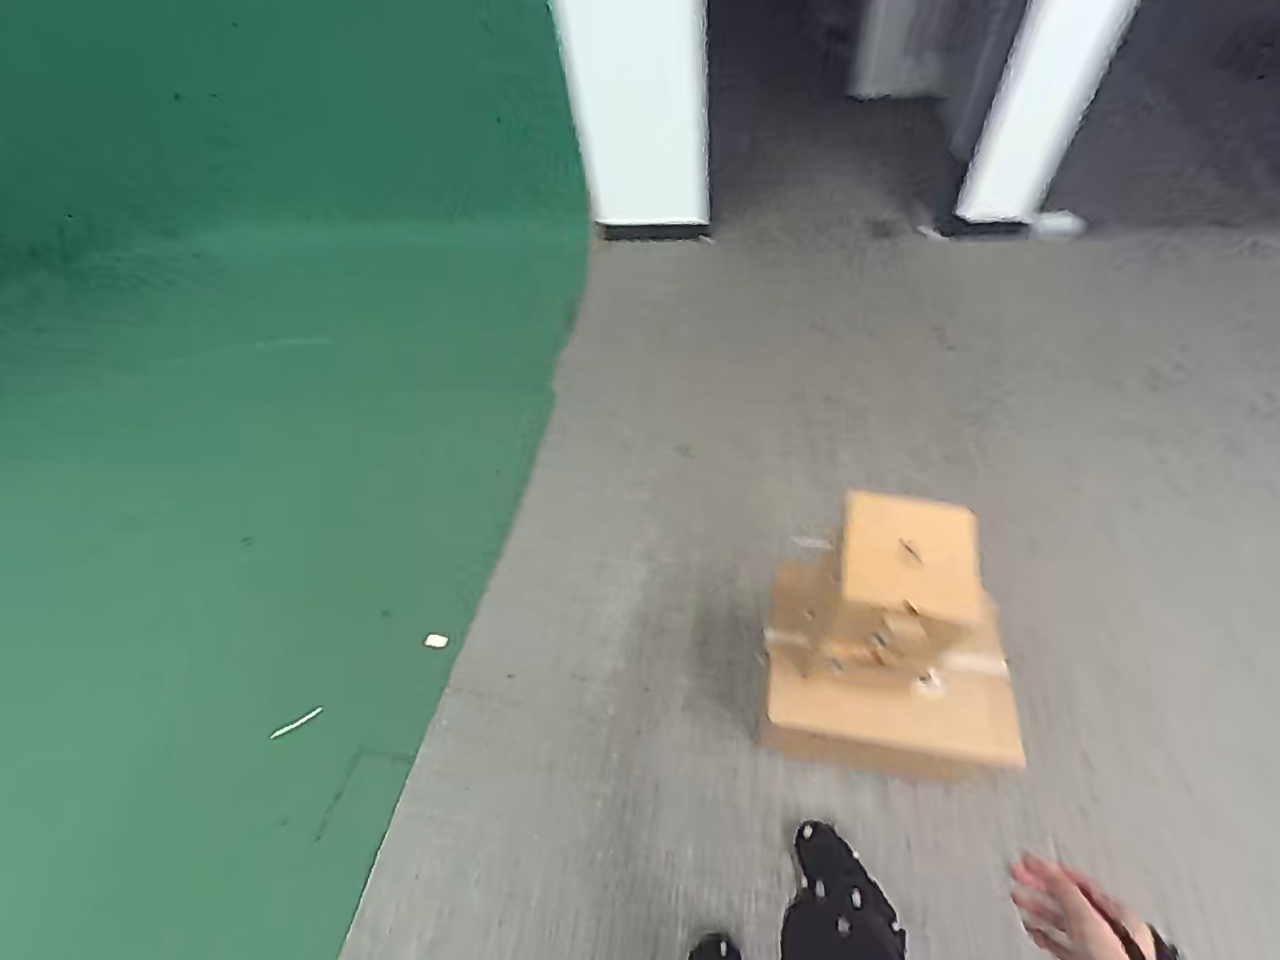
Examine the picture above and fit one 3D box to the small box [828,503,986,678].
[{"bbox_3d":[0.378,0.163,0.790,0.168,0.176,0.179,10,56,15],"label":"small box"}]
